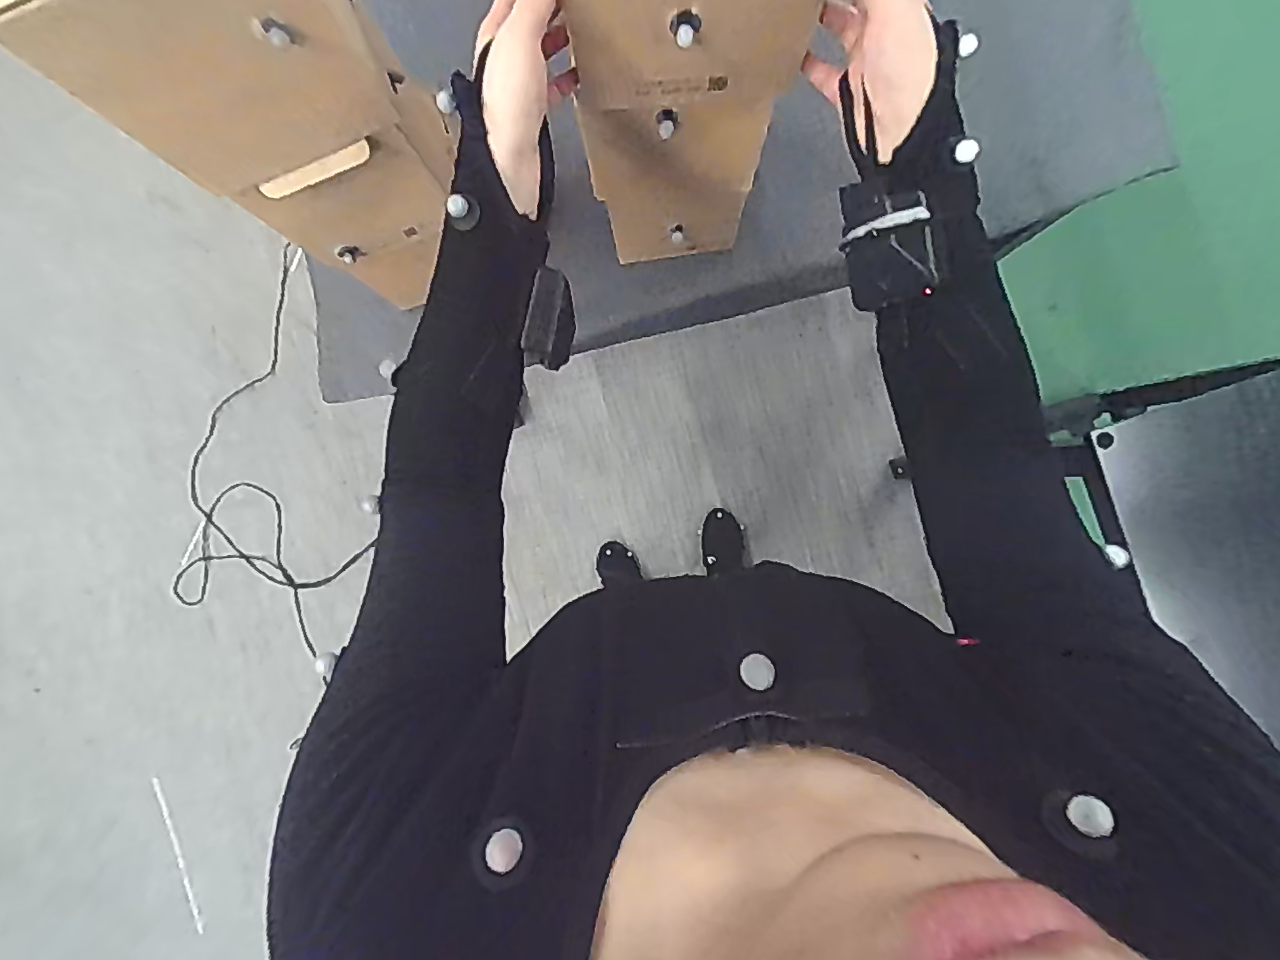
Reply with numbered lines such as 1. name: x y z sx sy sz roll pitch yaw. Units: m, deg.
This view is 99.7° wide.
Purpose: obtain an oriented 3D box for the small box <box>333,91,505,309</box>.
1. small box: -0.292 -0.350 0.710 0.179 0.176 0.168 -18 87 4

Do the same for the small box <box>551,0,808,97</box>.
1. small box: 0.024 -0.376 0.339 0.168 0.176 0.179 -3 92 3

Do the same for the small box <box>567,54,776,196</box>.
1. small box: 0.029 -0.402 0.525 0.179 0.176 0.168 -2 89 5

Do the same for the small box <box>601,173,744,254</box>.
1. small box: 0.035 -0.407 0.689 0.168 0.176 0.179 -7 89 4

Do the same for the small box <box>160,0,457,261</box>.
1. small box: -0.312 -0.349 0.547 0.168 0.176 0.179 -22 86 2
